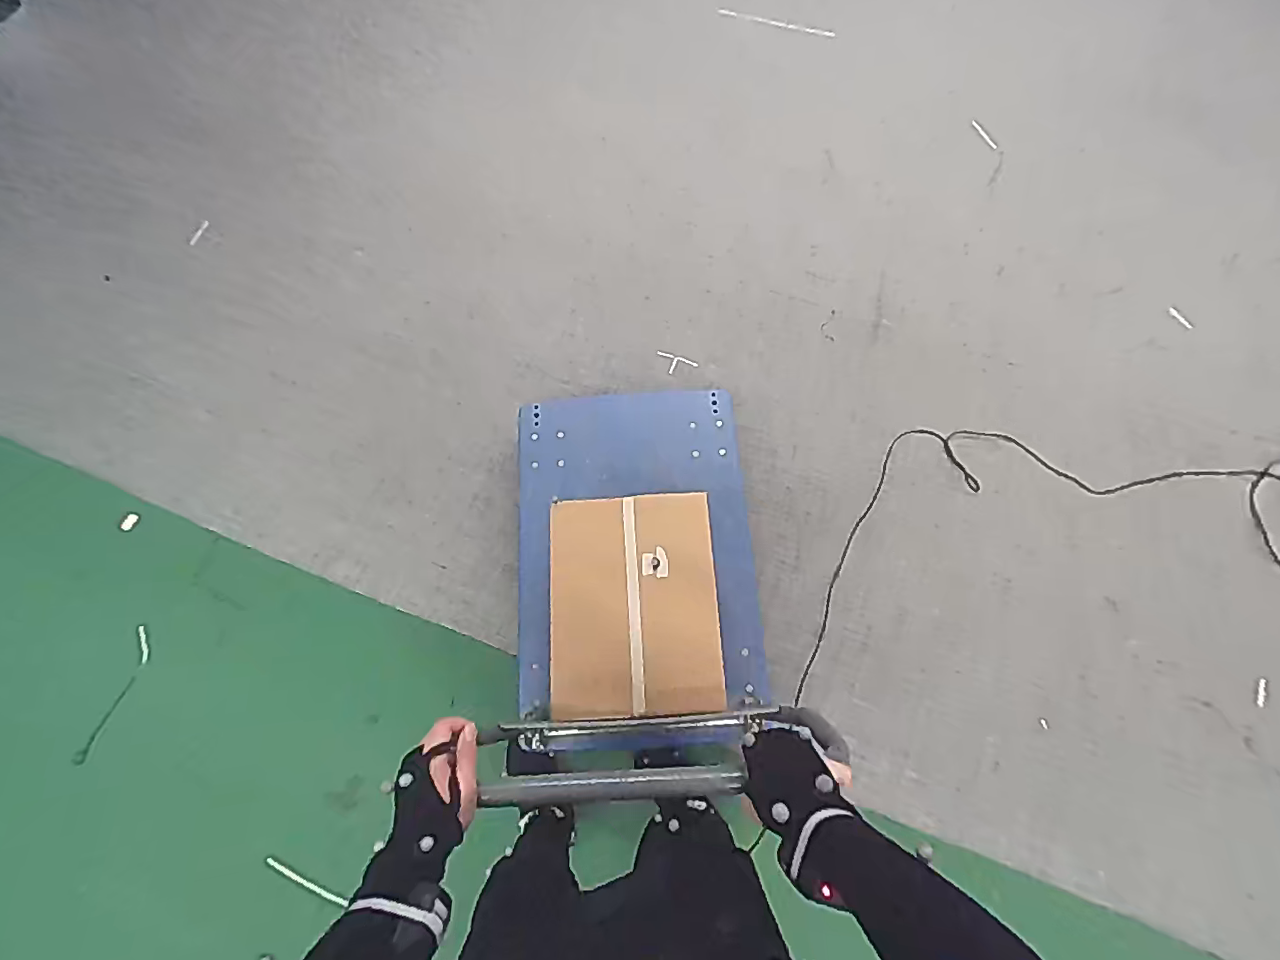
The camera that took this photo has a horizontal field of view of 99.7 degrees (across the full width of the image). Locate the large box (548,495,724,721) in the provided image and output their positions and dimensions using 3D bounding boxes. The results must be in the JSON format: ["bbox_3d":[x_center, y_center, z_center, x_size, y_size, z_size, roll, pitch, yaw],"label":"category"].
[{"bbox_3d":[-0.011,0.275,1.151,0.320,0.320,0.408,-3,71,0],"label":"large box"}]
